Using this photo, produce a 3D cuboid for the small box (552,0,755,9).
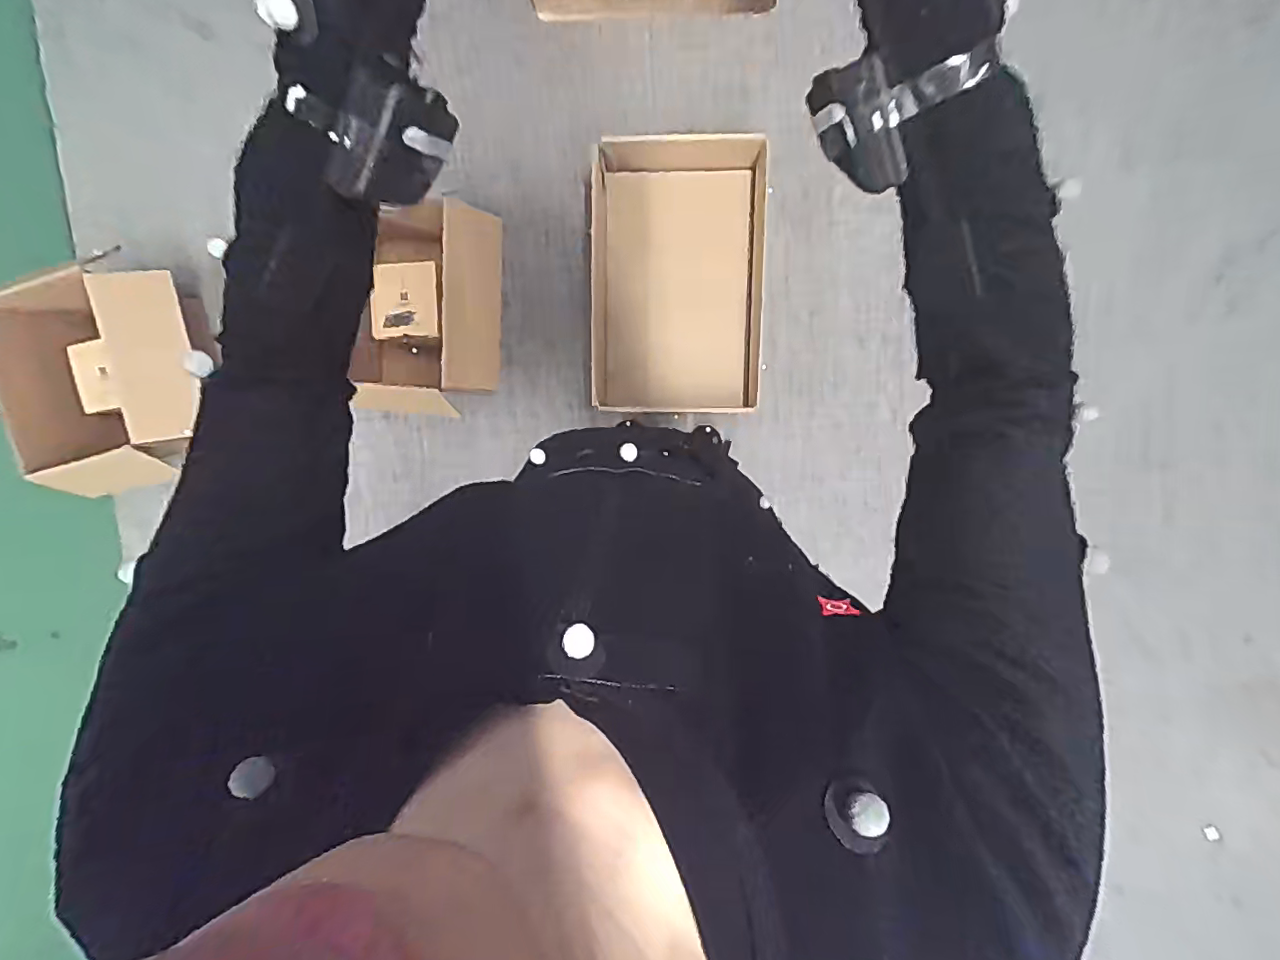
[{"bbox_3d":[0.005,-0.401,0.281,0.168,0.176,0.179,0,97,3],"label":"small box"}]
